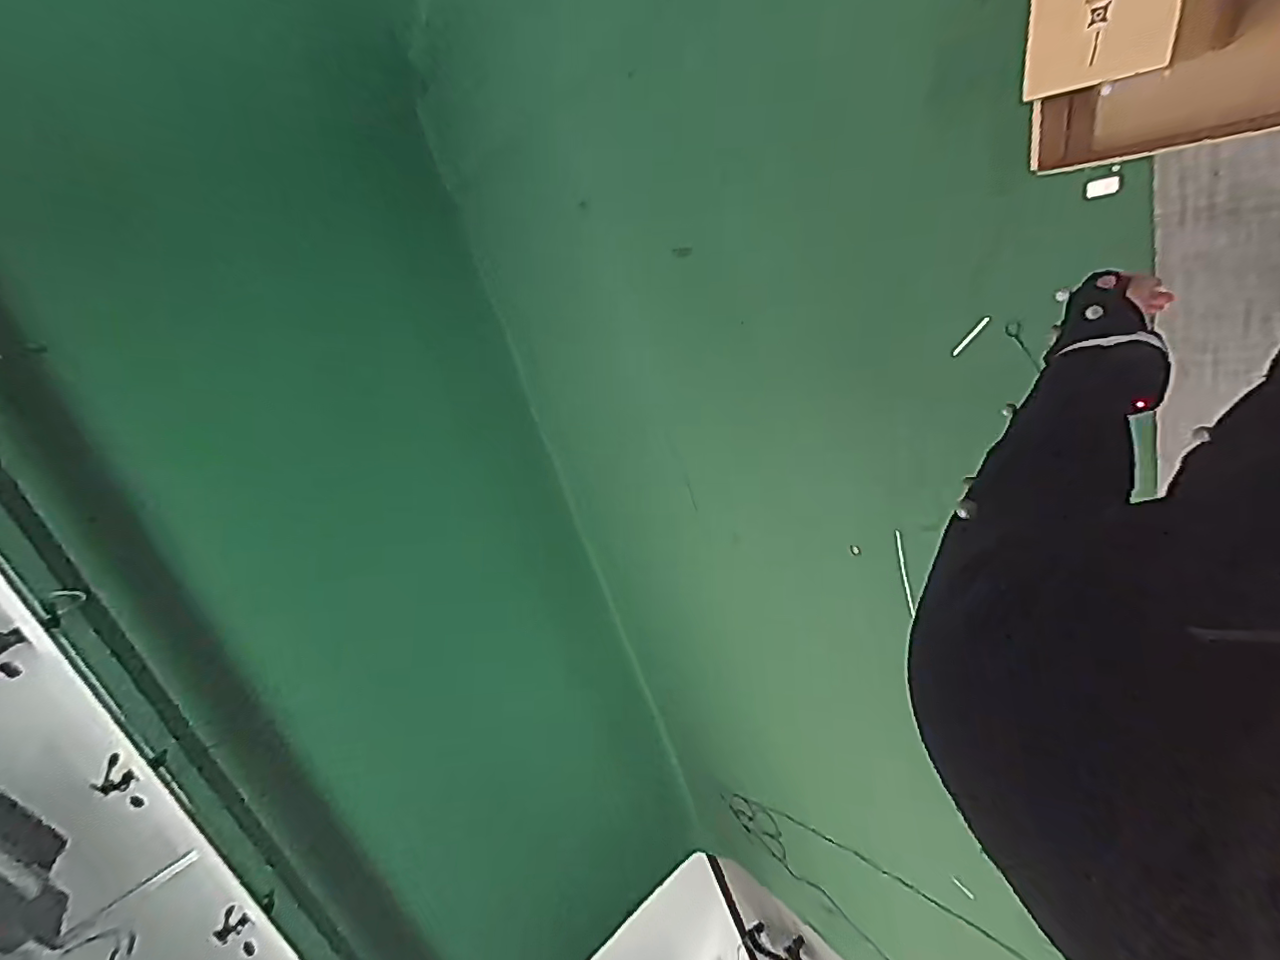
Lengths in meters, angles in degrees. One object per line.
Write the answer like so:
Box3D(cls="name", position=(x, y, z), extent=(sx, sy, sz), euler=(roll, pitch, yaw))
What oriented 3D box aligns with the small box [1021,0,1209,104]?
Box3D(cls="small box", position=(0.664, -0.652, 0.752), extent=(0.168, 0.176, 0.179), euler=(21, 133, 47))
